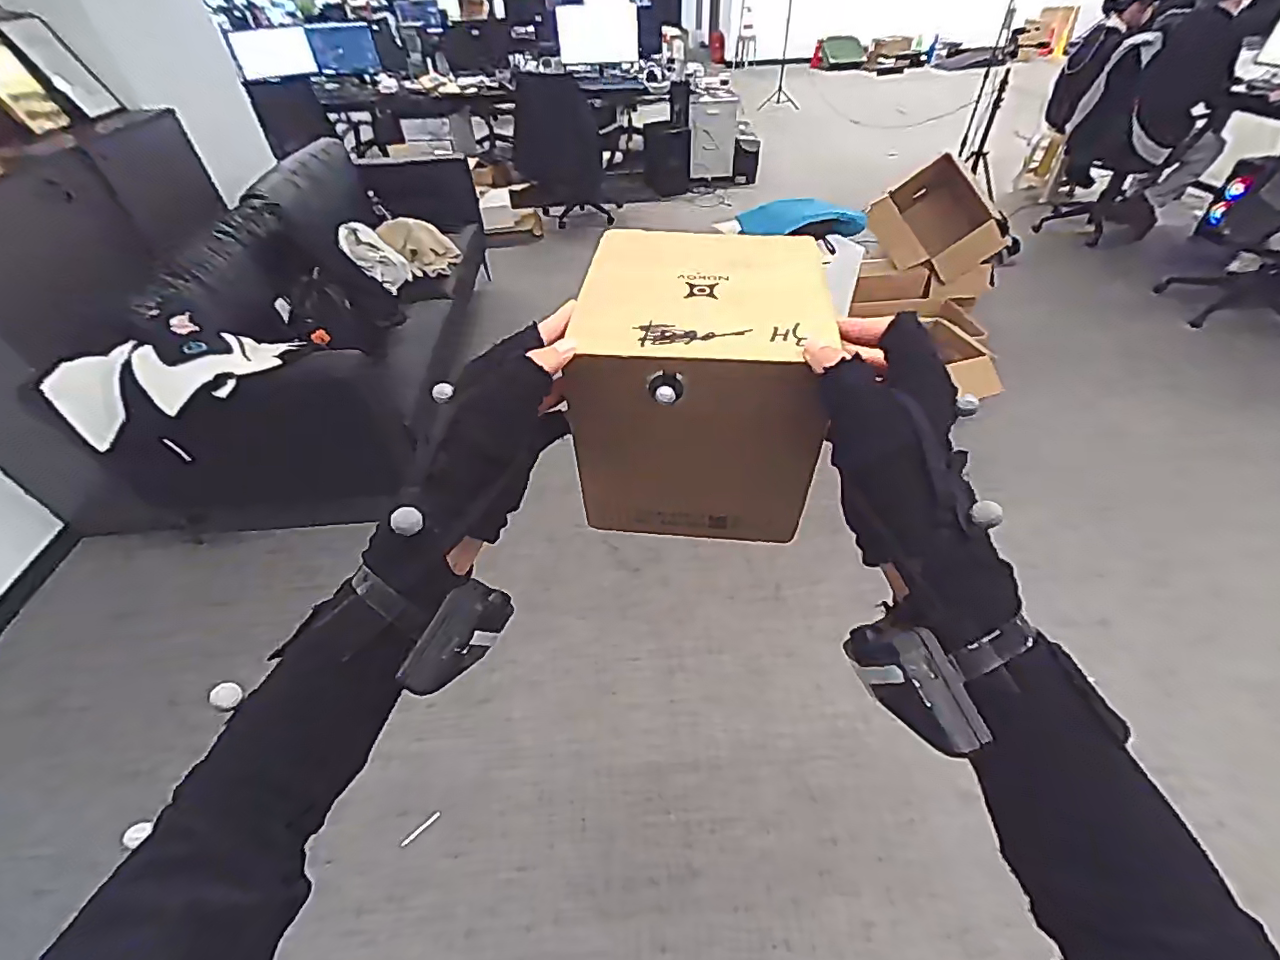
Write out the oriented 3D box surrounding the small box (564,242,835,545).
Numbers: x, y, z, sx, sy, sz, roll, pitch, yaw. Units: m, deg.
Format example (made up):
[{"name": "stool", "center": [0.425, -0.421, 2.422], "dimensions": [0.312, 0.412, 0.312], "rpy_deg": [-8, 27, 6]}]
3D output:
[{"name": "small box", "center": [0.046, -0.072, 0.436], "dimensions": [0.168, 0.176, 0.179], "rpy_deg": [4, 46, 7]}]
